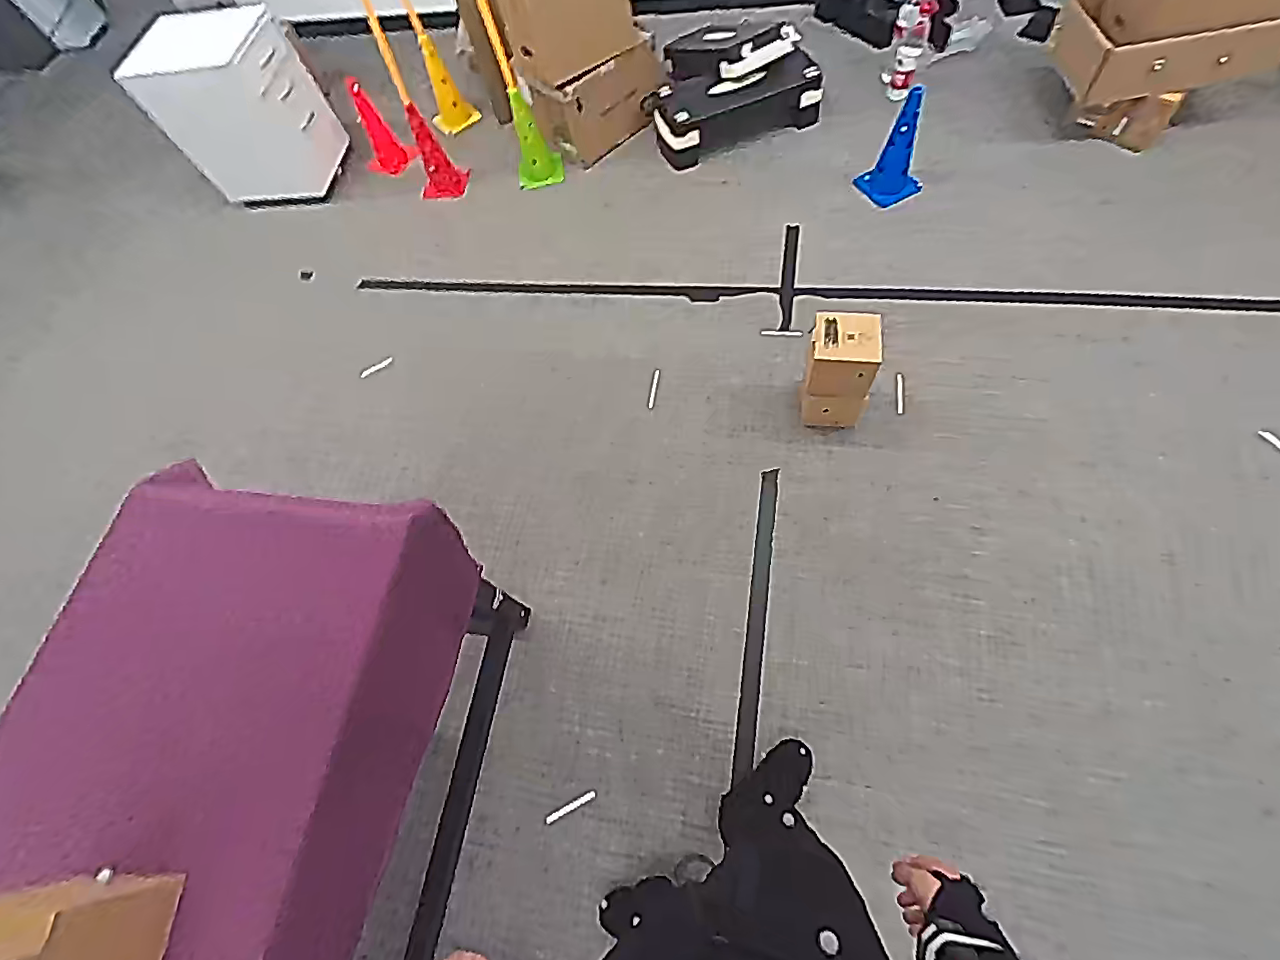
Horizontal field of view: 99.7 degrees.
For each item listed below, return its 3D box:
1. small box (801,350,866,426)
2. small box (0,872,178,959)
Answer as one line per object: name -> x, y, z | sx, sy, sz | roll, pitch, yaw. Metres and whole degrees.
small box -> 0.597, -0.282, 1.681 | 0.168, 0.176, 0.179 | 2, 65, 9
small box -> -0.718, 0.597, 0.649 | 0.168, 0.176, 0.179 | -4, 64, 6
